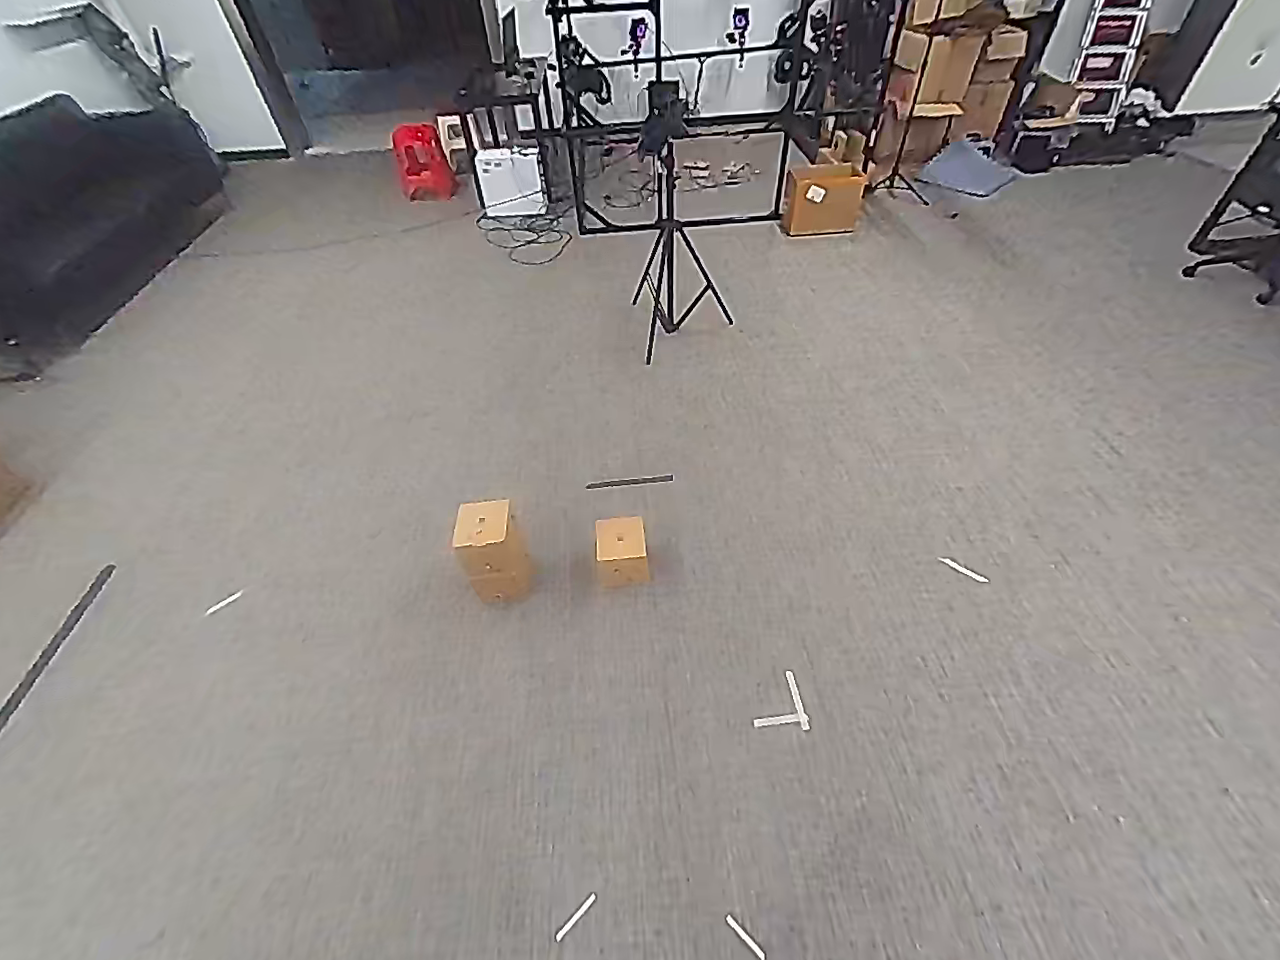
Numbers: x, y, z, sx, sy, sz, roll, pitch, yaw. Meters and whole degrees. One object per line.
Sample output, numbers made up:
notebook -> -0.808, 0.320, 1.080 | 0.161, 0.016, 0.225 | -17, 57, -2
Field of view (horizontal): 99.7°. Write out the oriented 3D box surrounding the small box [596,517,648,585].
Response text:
small box -> -0.064, 0.254, 1.895 | 0.168, 0.176, 0.179 | -5, 46, -2

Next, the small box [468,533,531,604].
small box -> -0.480, 0.307, 1.872 | 0.168, 0.176, 0.179 | -6, 47, 0

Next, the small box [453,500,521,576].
small box -> -0.490, 0.189, 1.758 | 0.168, 0.176, 0.179 | -6, 47, 0
